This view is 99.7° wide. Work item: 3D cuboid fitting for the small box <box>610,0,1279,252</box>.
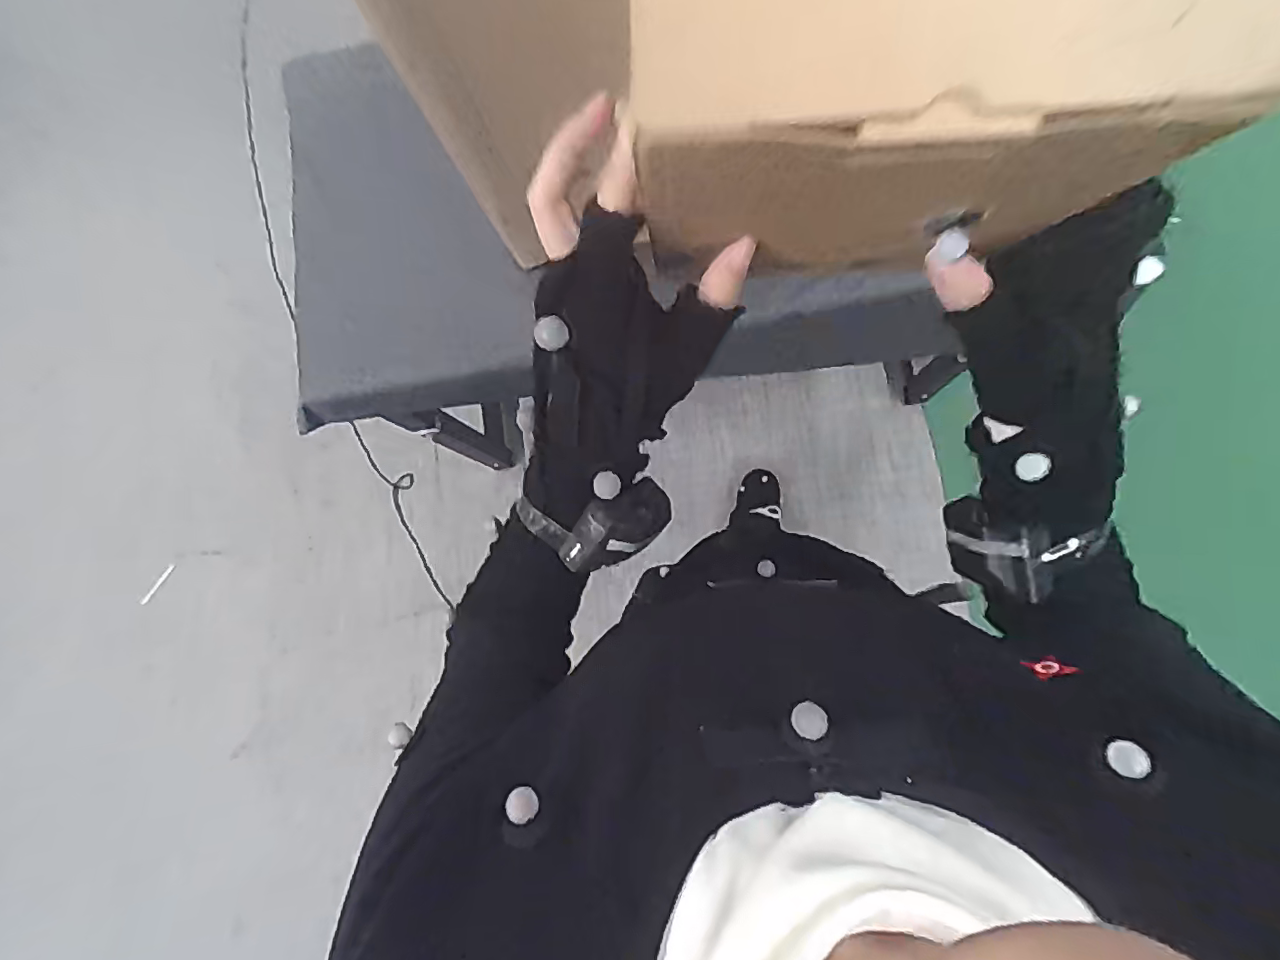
[{"bbox_3d":[0.079,-0.193,0.200,0.168,0.176,0.179,0,97,3],"label":"small box"}]
